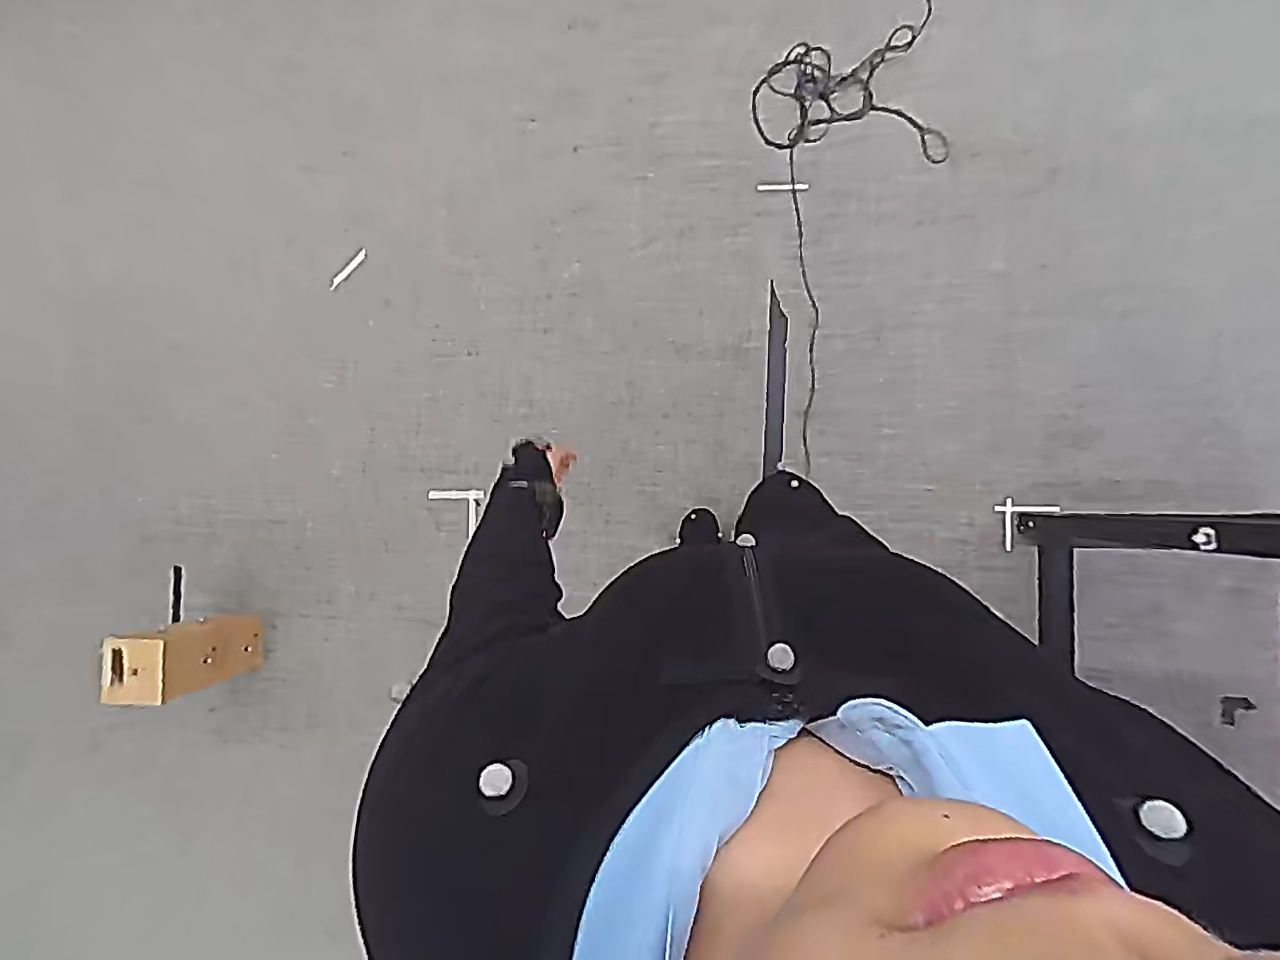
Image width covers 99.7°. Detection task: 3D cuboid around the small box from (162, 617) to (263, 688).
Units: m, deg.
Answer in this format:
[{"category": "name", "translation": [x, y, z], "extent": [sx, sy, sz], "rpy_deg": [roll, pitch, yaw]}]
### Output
[{"category": "small box", "translation": [-1.266, 0.509, 1.607], "extent": [0.179, 0.176, 0.168], "rpy_deg": [-4, 88, 7]}]
